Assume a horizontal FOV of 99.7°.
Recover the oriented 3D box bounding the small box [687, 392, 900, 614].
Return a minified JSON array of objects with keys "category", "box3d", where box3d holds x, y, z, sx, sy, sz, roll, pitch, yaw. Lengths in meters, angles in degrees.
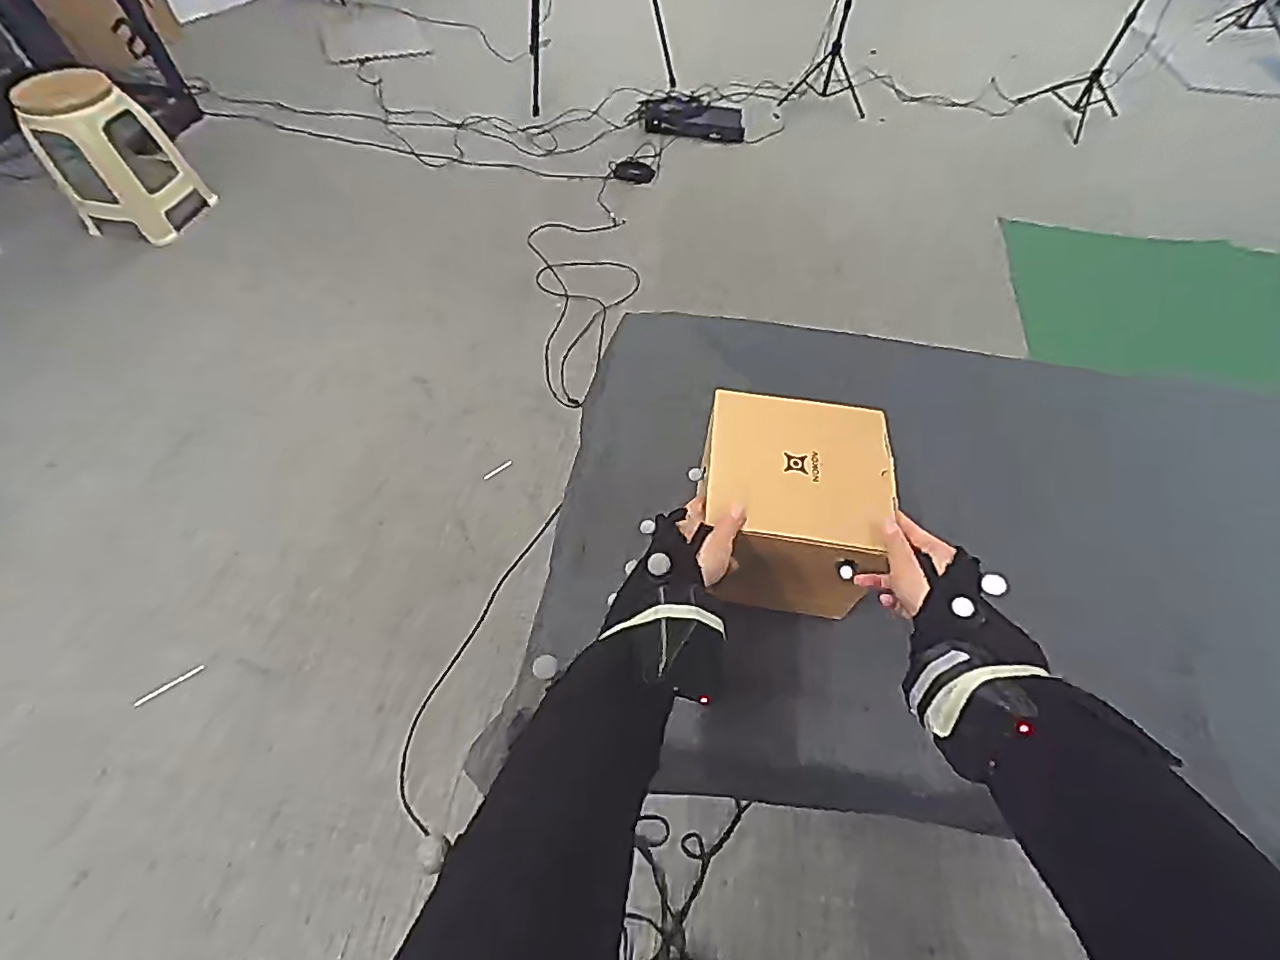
[{"category":"small box","box3d":[0.148,0.030,0.580,0.179,0.176,0.168,8,56,3]}]
